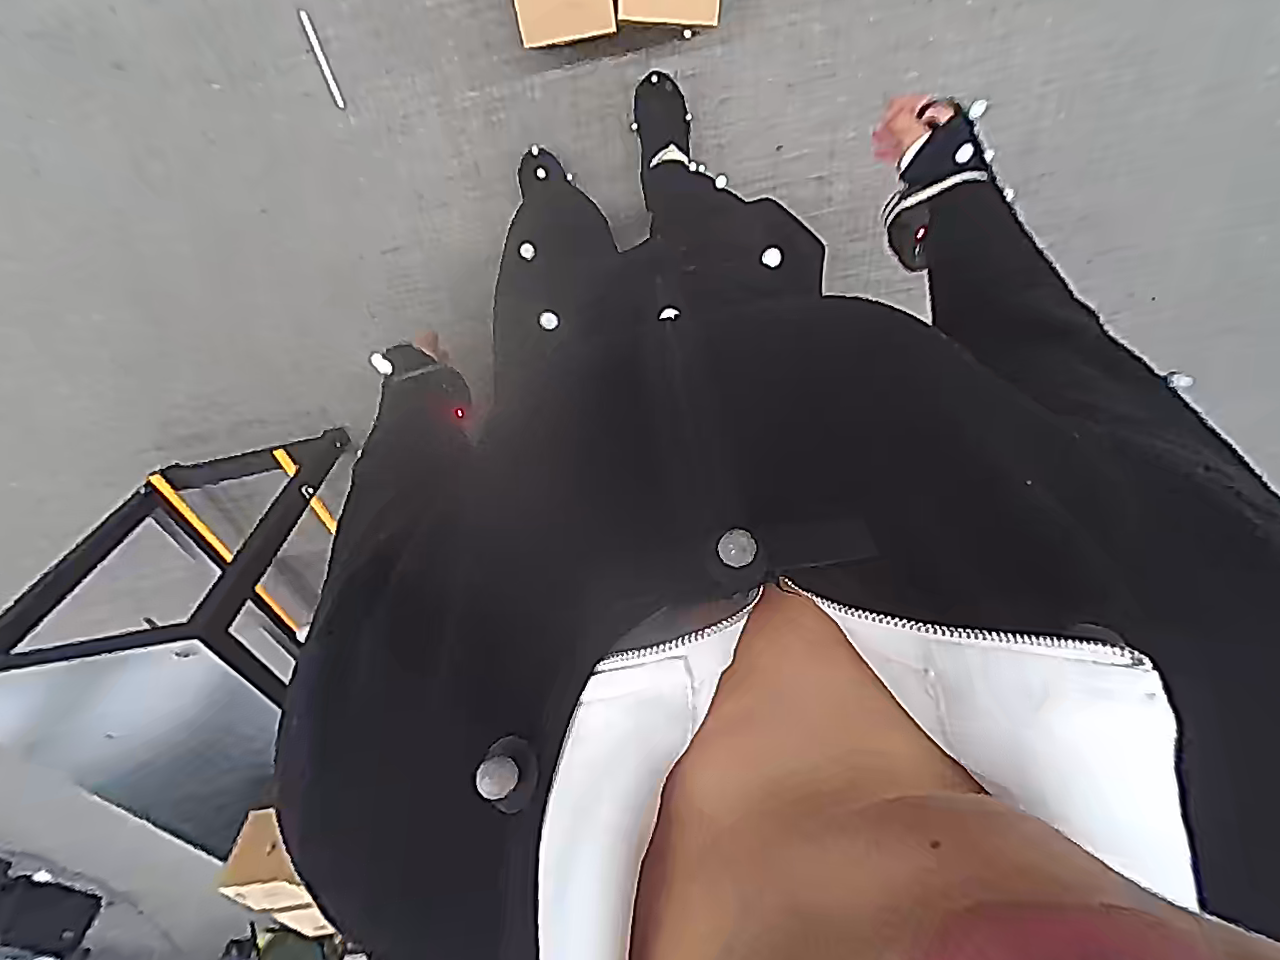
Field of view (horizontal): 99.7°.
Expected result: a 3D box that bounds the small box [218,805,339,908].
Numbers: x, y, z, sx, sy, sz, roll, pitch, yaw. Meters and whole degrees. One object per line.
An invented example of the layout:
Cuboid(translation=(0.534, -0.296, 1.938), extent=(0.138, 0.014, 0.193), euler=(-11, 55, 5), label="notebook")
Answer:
Cuboid(translation=(-0.891, 0.943, 1.361), extent=(0.179, 0.176, 0.168), euler=(-10, 127, 3), label="small box")

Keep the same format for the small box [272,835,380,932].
Cuboid(translation=(-0.851, 1.110, 1.490), extent=(0.168, 0.176, 0.179), euler=(-12, 126, 5), label="small box")
